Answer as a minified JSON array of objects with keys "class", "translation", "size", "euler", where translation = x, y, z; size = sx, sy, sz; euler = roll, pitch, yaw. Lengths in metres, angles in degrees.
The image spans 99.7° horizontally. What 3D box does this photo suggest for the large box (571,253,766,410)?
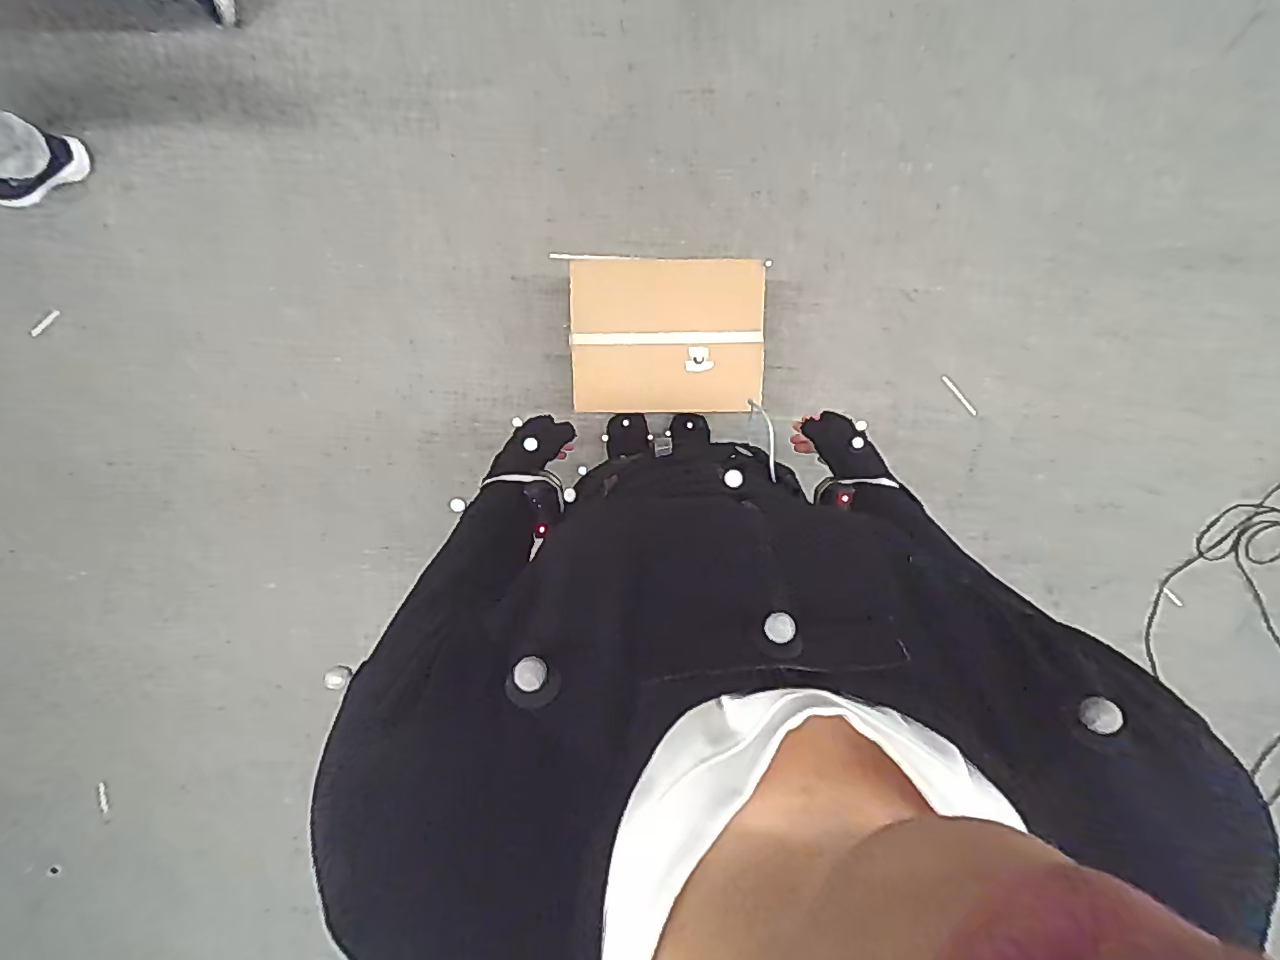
[{"class":"large box","translation":[0.059,-0.333,1.274],"size":[0.408,0.320,0.320],"euler":[0,101,0]}]
